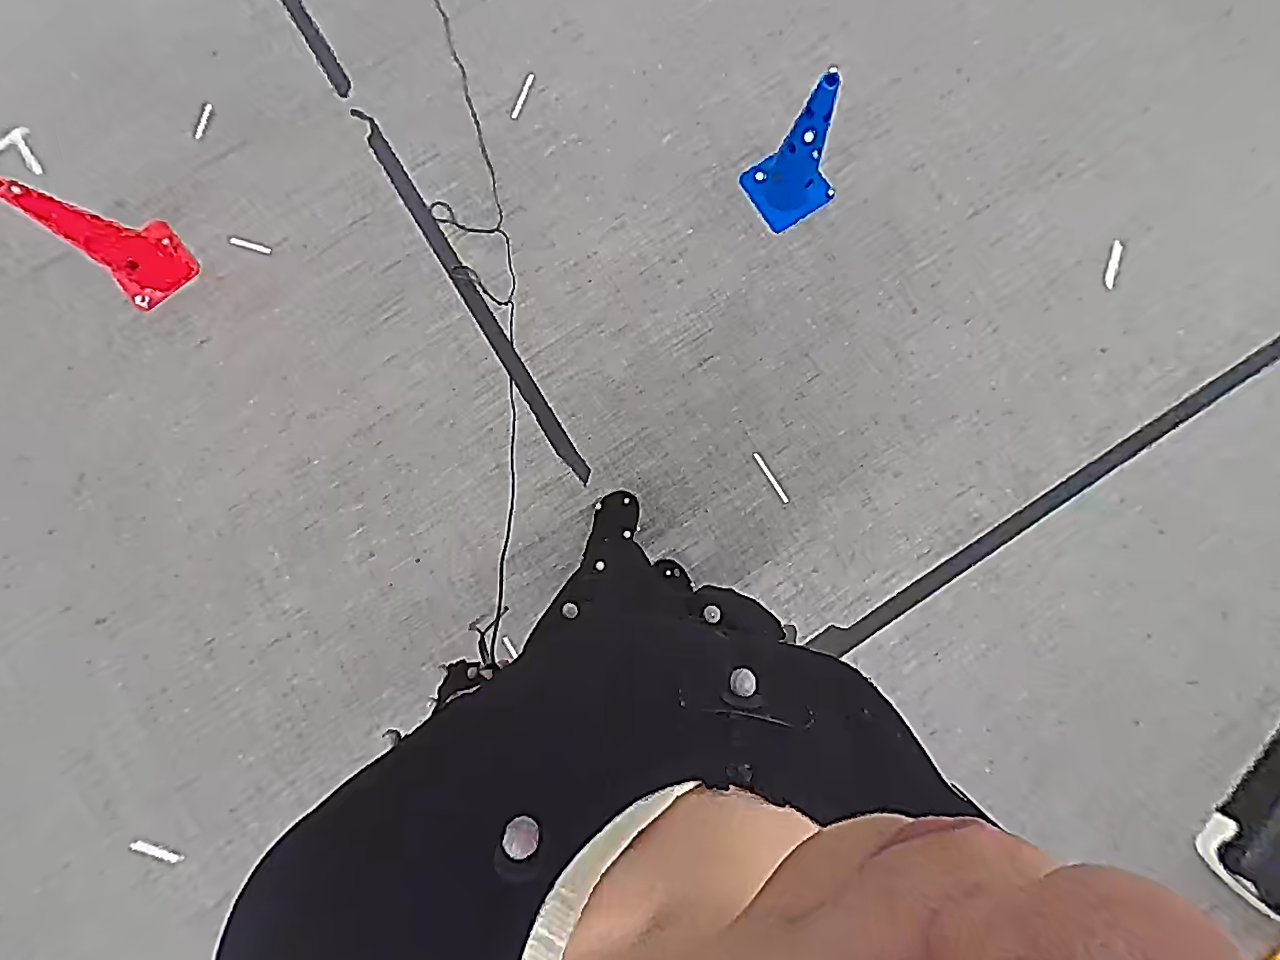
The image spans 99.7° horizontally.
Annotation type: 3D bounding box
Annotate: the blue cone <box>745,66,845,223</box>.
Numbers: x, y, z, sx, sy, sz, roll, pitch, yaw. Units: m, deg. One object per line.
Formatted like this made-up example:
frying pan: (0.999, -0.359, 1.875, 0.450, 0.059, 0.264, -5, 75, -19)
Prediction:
blue cone: (0.398, -0.818, 1.301, 0.192, 0.380, 0.193, -32, 85, -3)

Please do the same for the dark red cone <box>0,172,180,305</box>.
dark red cone: (-1.350, -0.606, 1.279, 0.201, 0.394, 0.202, -40, 85, -4)
